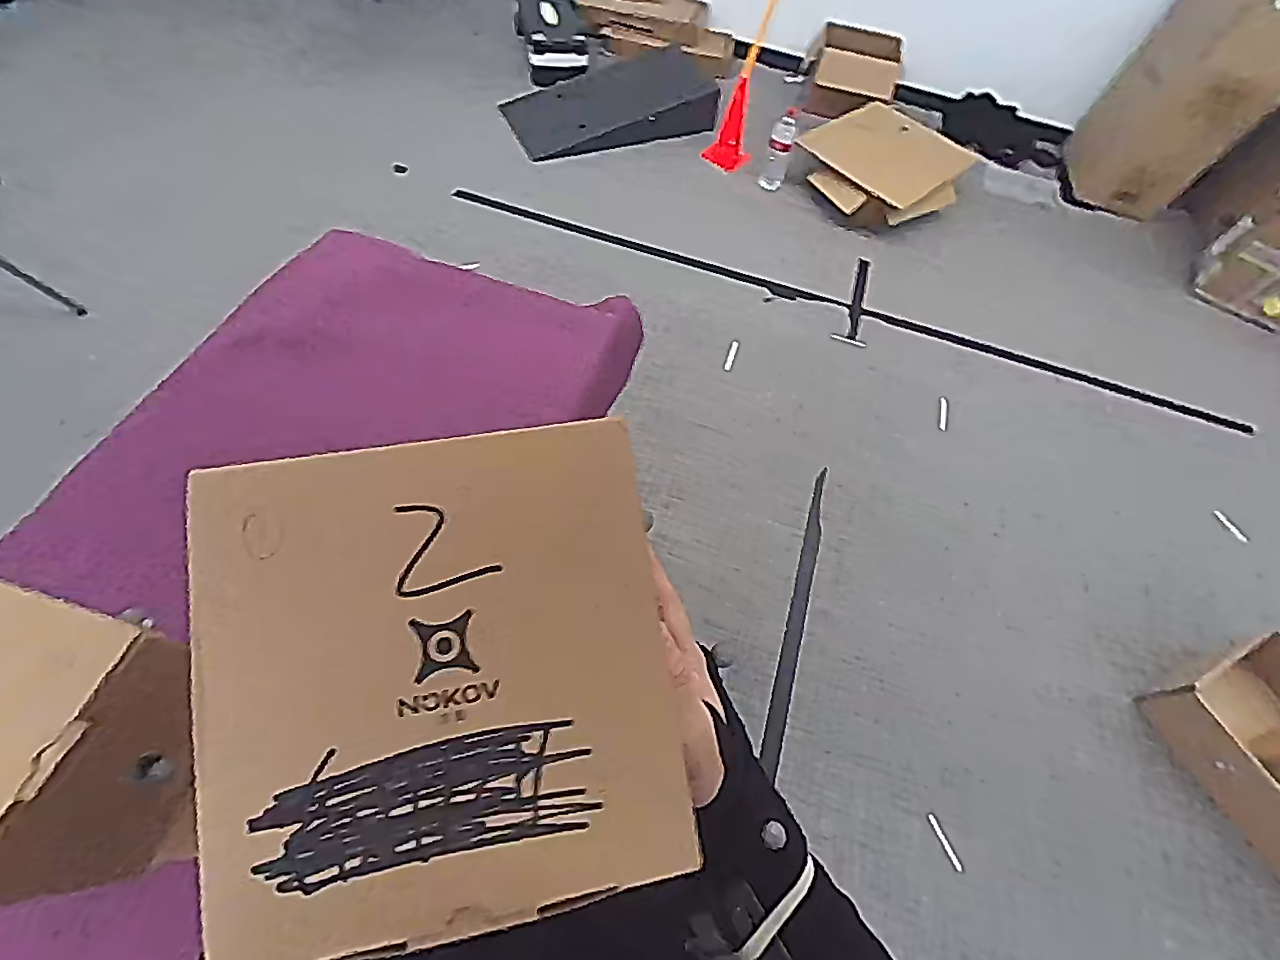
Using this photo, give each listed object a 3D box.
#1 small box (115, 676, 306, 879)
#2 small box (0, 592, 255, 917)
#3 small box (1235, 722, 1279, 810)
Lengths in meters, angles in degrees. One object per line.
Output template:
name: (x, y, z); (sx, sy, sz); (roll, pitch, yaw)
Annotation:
small box: (-0.491, 0.270, 0.551); (0.179, 0.176, 0.168); (17, 60, 4)
small box: (-0.450, 0.196, 0.409); (0.179, 0.176, 0.168); (17, 60, 3)
small box: (1.679, 0.717, 1.353); (0.179, 0.176, 0.168); (-21, 65, -17)
